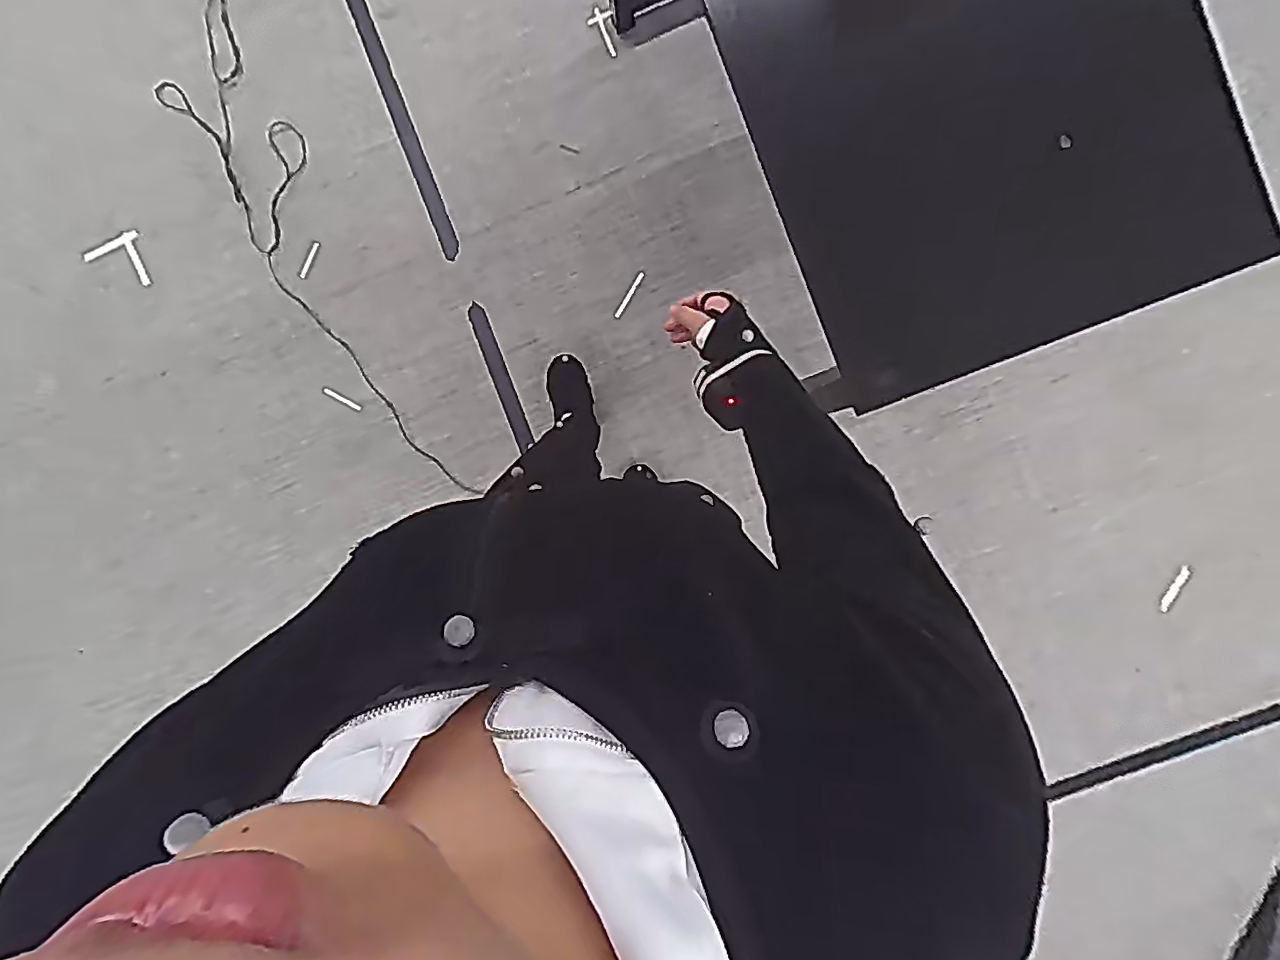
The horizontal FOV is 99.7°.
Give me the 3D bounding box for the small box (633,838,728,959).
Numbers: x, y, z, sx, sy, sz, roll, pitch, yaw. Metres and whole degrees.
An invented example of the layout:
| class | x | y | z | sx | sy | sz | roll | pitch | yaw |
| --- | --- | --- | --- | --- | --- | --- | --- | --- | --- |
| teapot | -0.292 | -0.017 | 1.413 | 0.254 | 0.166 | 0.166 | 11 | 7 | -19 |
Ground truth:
| class | x | y | z | sx | sy | sz | roll | pitch | yaw |
| --- | --- | --- | --- | --- | --- | --- | --- | --- | --- |
| small box | 0.095 | 1.007 | 1.285 | 0.168 | 0.176 | 0.179 | -24 | 92 | 4 |
